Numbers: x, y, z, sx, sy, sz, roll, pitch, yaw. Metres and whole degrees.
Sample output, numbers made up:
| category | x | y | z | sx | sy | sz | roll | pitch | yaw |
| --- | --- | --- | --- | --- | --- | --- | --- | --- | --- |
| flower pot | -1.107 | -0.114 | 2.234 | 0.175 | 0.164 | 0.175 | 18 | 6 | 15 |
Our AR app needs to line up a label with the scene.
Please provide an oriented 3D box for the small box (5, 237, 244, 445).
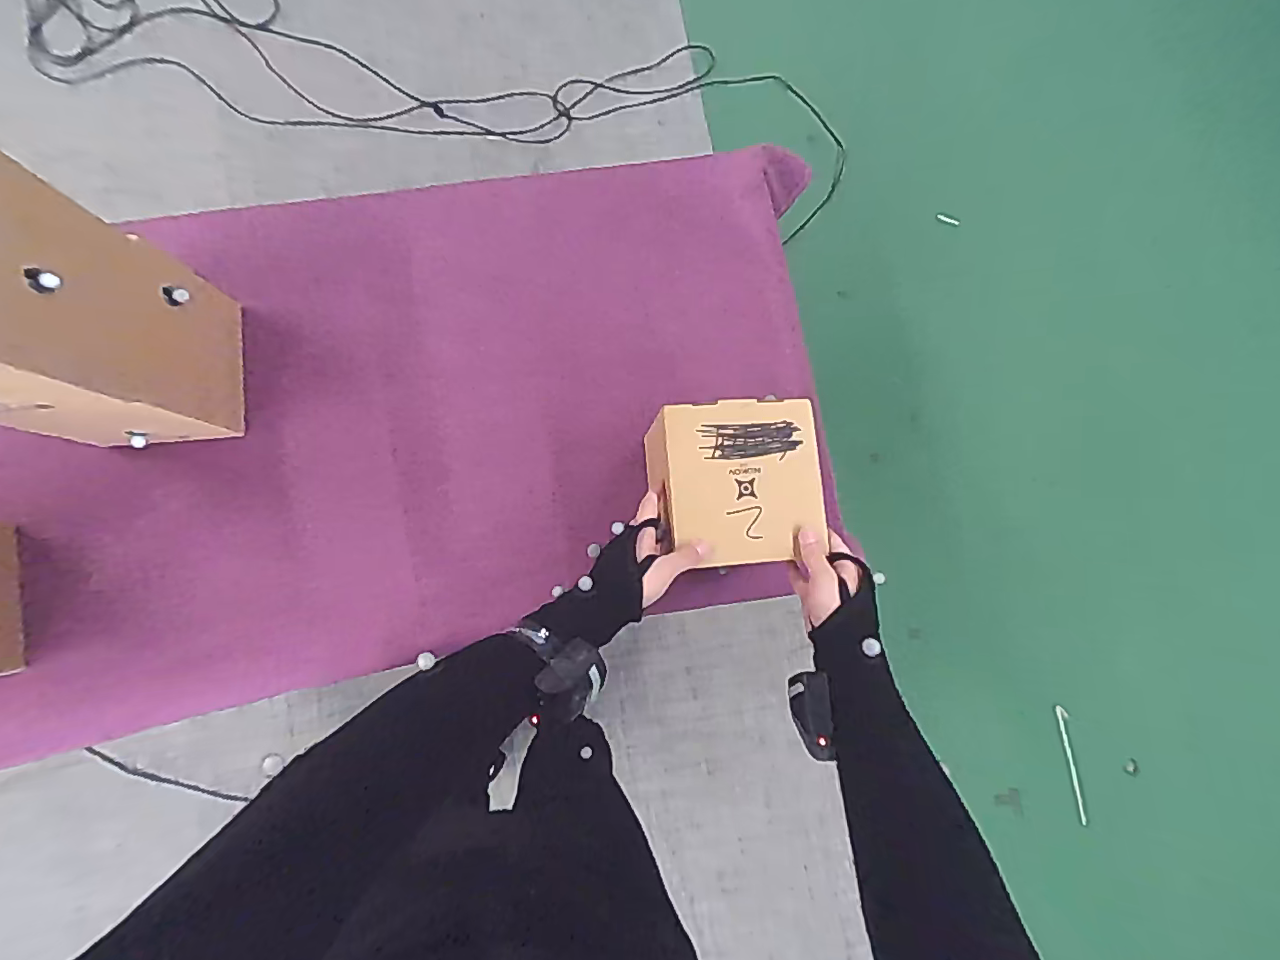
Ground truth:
| category | x | y | z | sx | sy | sz | roll | pitch | yaw |
| --- | --- | --- | --- | --- | --- | --- | --- | --- | --- |
| small box | -0.578 | -0.144 | 0.602 | 0.168 | 0.176 | 0.179 | -5 | 84 | -6 |

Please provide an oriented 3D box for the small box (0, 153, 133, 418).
| category | x | y | z | sx | sy | sz | roll | pitch | yaw |
| --- | --- | --- | --- | --- | --- | --- | --- | --- | --- |
| small box | -0.566 | -0.156 | 0.439 | 0.168 | 0.176 | 0.179 | -7 | 85 | -7 |

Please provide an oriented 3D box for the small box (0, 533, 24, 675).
| category | x | y | z | sx | sy | sz | roll | pitch | yaw |
| --- | --- | --- | --- | --- | --- | --- | --- | --- | --- |
| small box | -0.796 | 0.137 | 0.546 | 0.168 | 0.176 | 0.179 | -10 | 84 | -7 |
